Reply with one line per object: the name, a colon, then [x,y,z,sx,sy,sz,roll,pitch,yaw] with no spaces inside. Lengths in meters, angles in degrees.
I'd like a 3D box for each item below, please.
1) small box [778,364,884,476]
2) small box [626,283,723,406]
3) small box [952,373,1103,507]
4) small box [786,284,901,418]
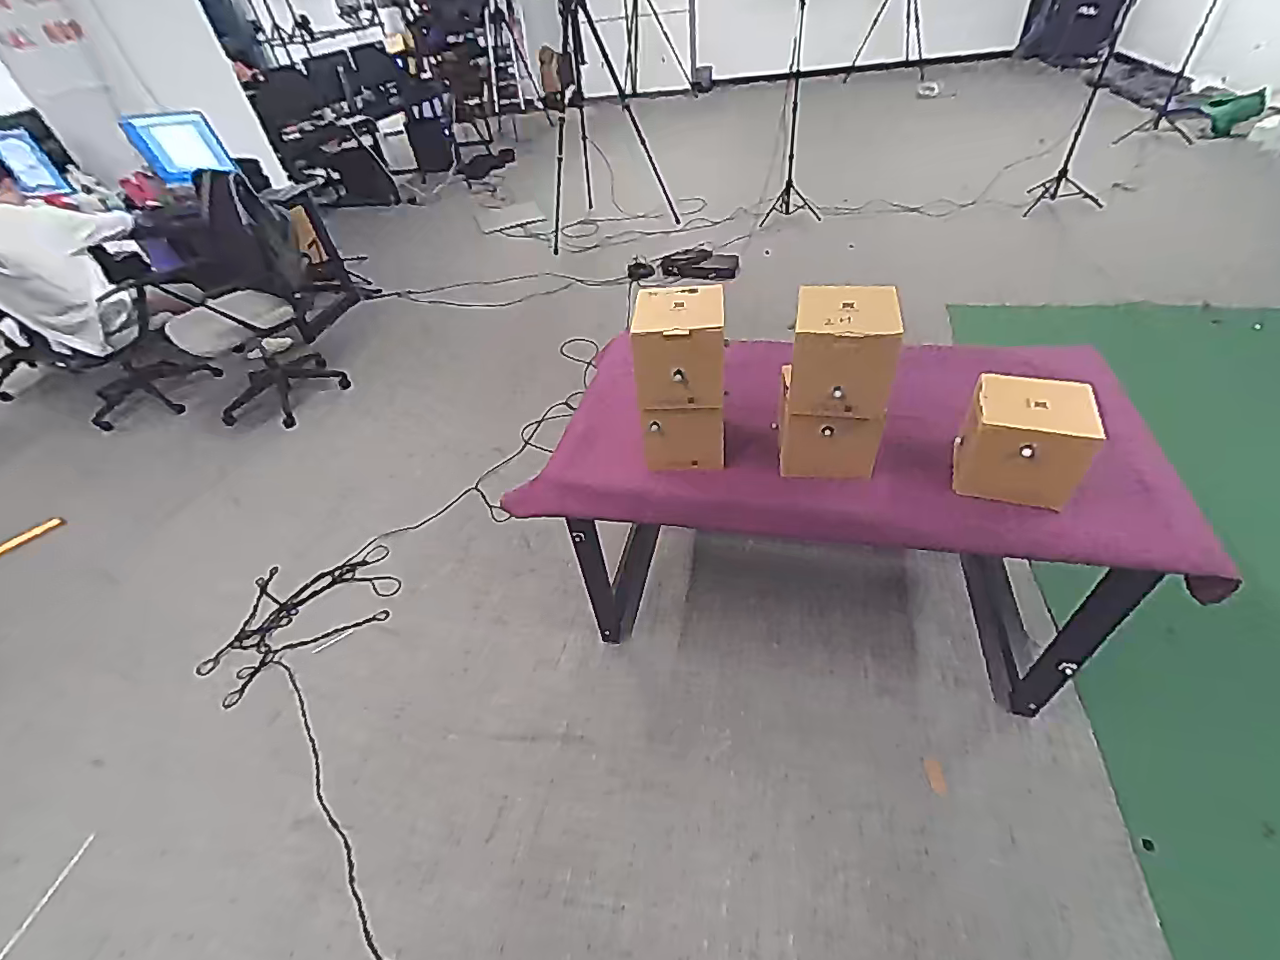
small box: [0.373,-0.121,1.091,0.179,0.176,0.168,1,44,9]
small box: [0.075,-0.255,1.038,0.168,0.176,0.179,0,44,8]
small box: [0.693,-0.072,0.988,0.179,0.176,0.168,11,46,22]
small box: [0.357,-0.234,0.972,0.168,0.176,0.179,5,46,14]
